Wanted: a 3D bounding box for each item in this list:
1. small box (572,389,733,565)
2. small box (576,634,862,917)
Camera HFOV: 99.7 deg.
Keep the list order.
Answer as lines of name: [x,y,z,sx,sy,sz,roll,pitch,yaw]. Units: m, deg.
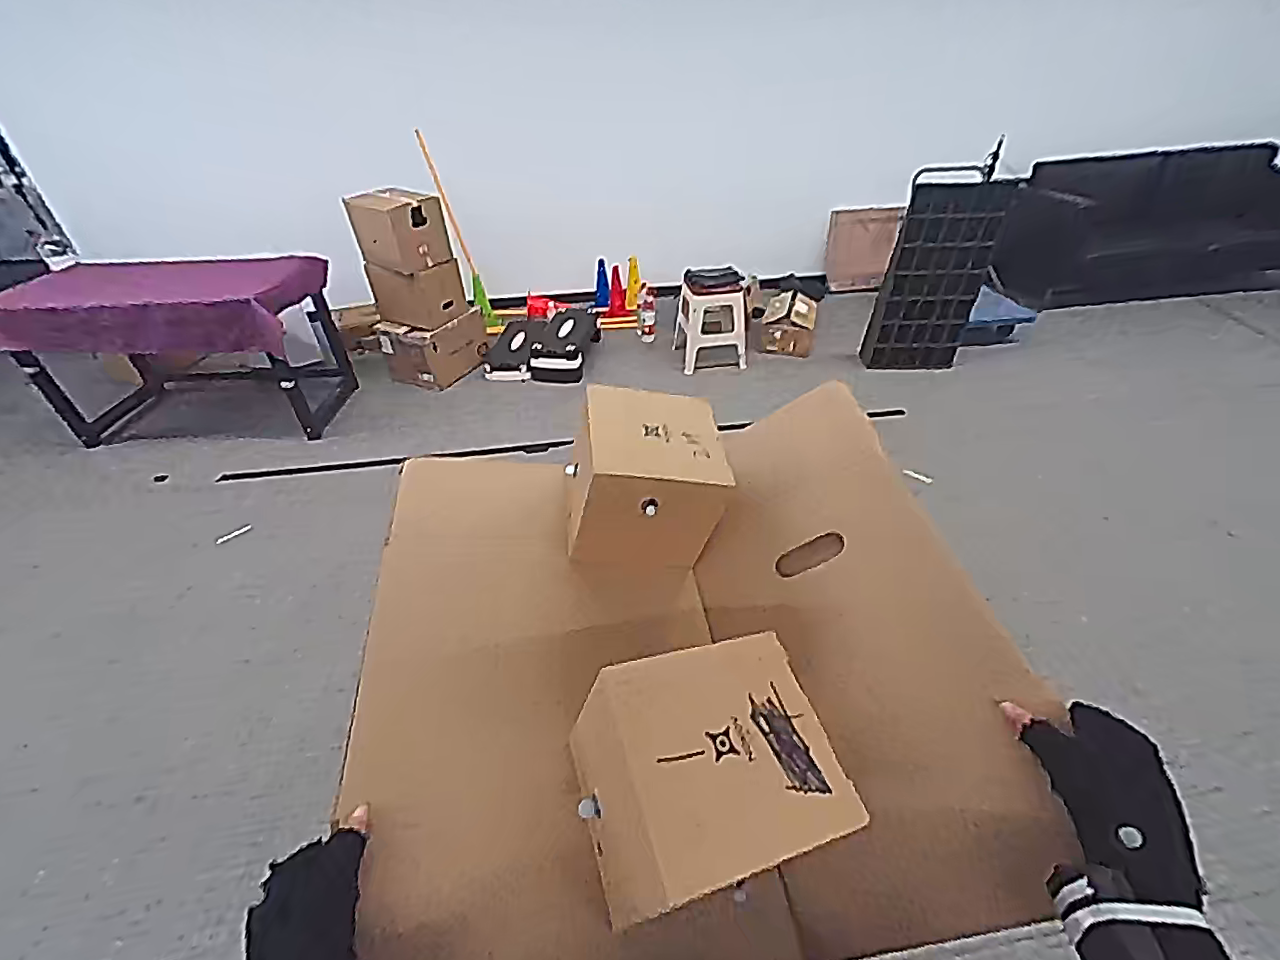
small box: [0.003,0.002,0.737,0.179,0.176,0.168,6,46,-15]
small box: [0.054,0.266,0.496,0.179,0.176,0.168,-4,49,-23]
